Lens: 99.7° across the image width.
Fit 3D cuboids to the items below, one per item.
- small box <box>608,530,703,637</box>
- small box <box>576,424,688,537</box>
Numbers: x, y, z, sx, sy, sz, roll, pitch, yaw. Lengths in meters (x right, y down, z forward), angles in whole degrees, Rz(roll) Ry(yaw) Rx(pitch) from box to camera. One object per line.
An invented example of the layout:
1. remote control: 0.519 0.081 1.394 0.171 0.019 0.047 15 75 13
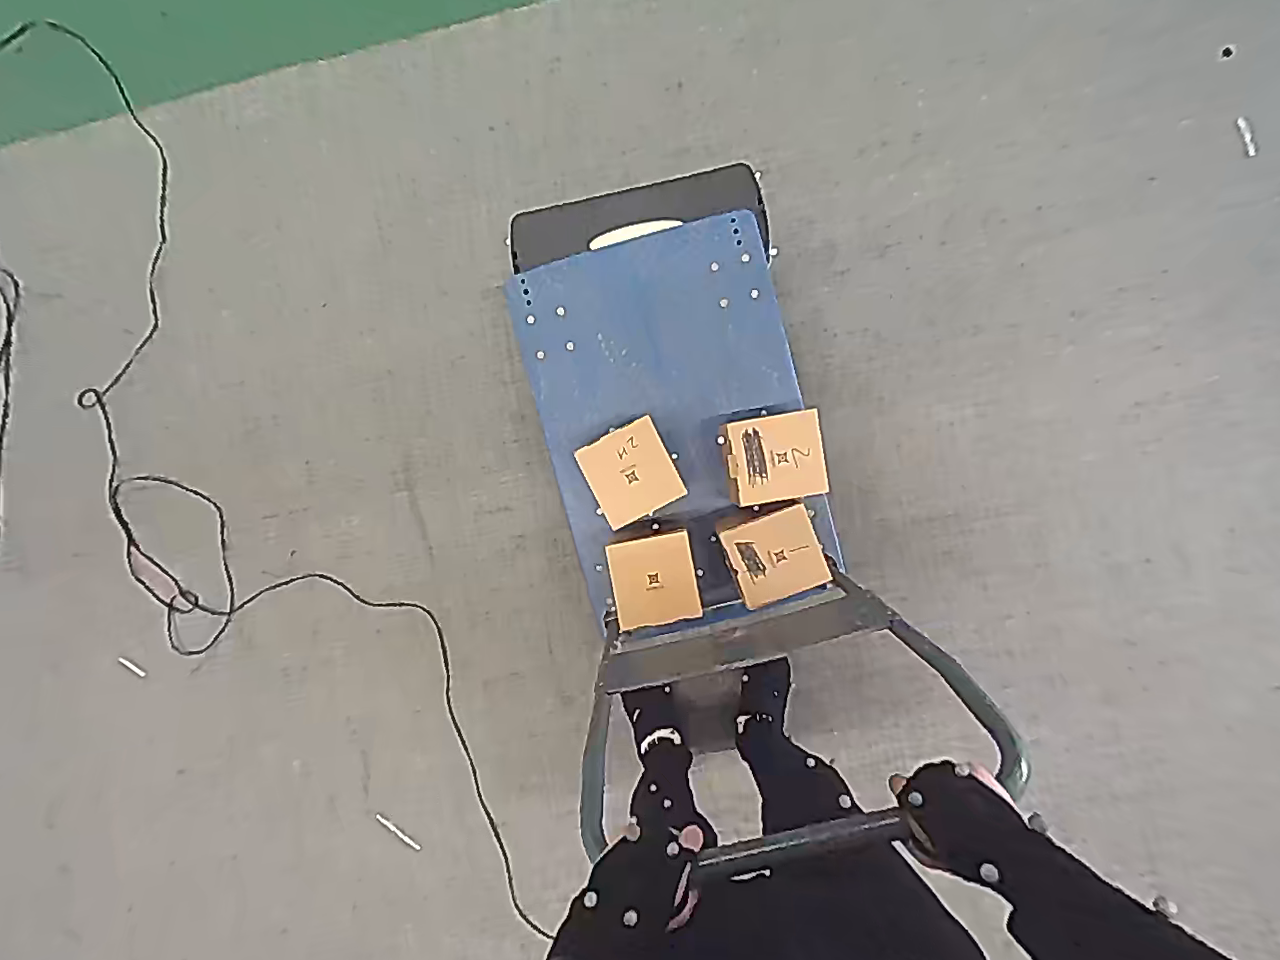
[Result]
1. small box: 0.031 0.207 1.137 0.168 0.176 0.179 -11 93 2
2. small box: -0.012 -0.004 1.124 0.168 0.176 0.179 -27 91 3
